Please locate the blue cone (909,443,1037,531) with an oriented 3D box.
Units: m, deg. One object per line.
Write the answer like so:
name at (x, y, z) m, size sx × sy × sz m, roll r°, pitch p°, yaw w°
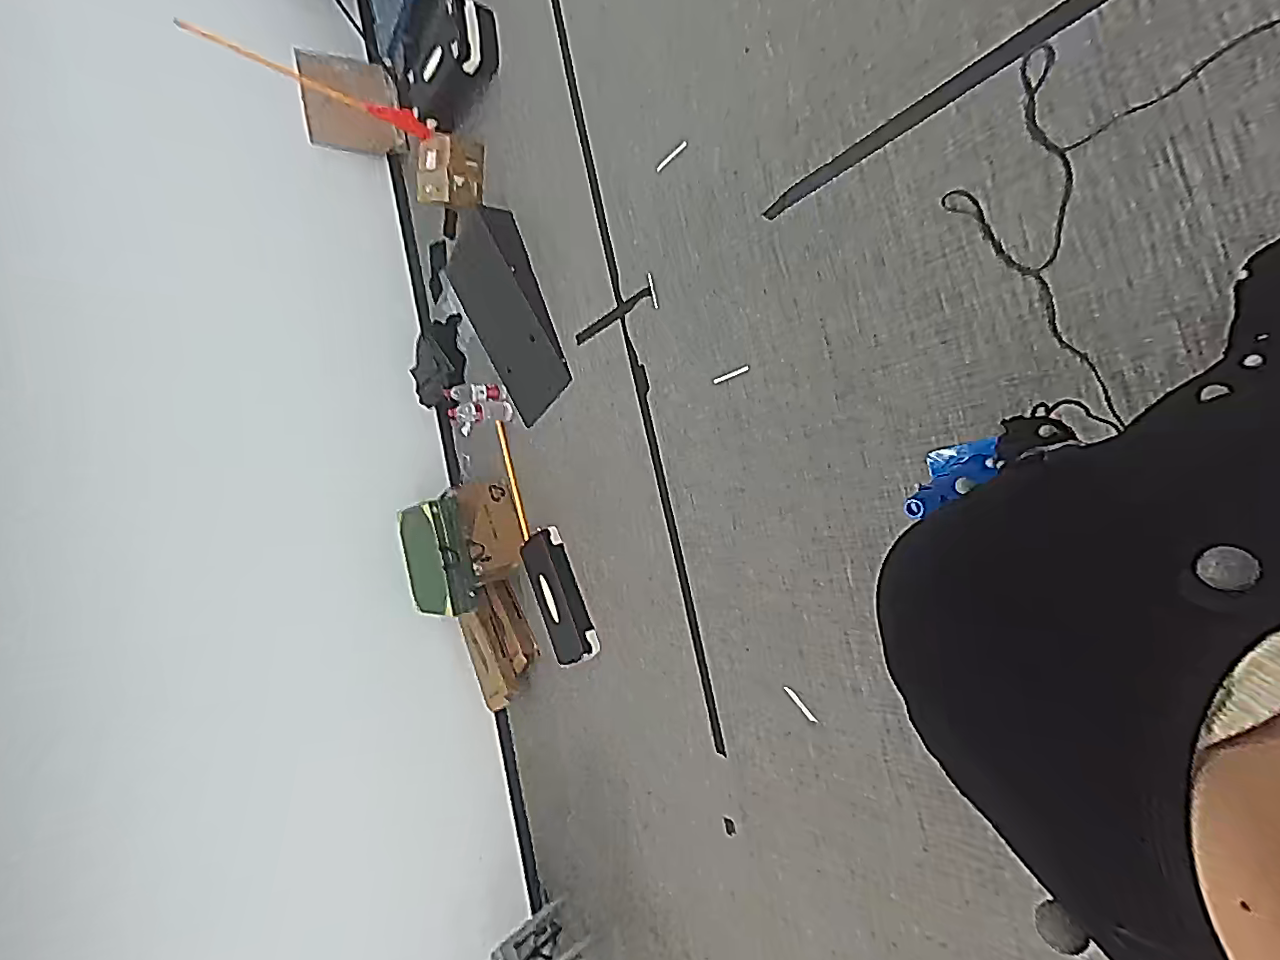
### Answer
blue cone at (0.662, 0.040, 1.140) m, size 0.193 × 0.380 × 0.192 m, roll -14°, pitch 87°, yaw 50°
